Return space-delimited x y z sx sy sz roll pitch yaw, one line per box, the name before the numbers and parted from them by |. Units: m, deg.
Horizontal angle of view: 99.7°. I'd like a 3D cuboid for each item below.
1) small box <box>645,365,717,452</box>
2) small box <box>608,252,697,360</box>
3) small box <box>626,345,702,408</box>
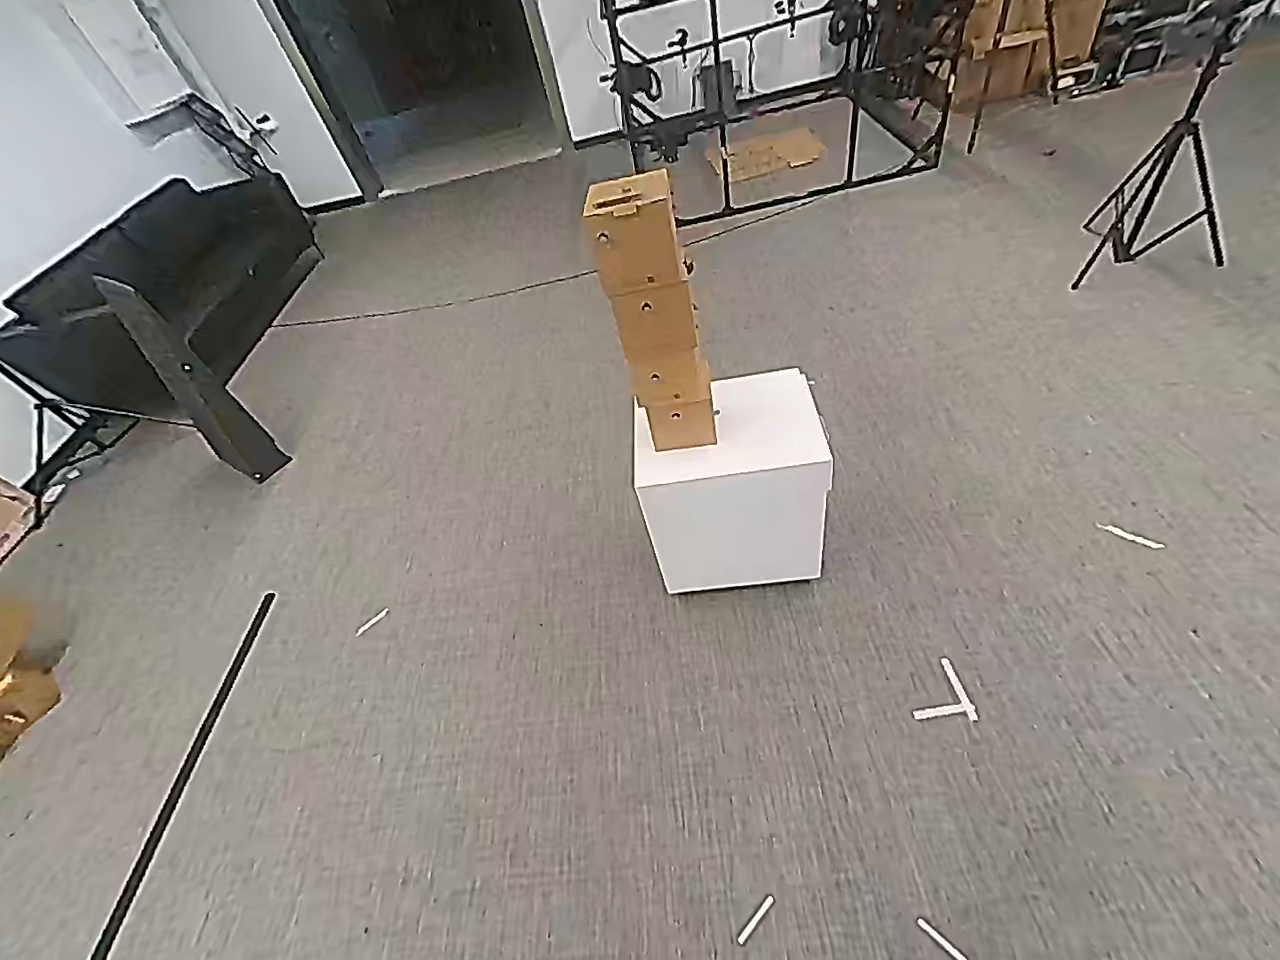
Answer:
small box | 0.115 -0.192 1.496 0.179 0.176 0.168 -6 47 8
small box | 0.032 -0.397 1.254 0.179 0.176 0.168 -8 47 8
small box | 0.066 -0.298 1.382 0.168 0.176 0.179 -6 46 10
